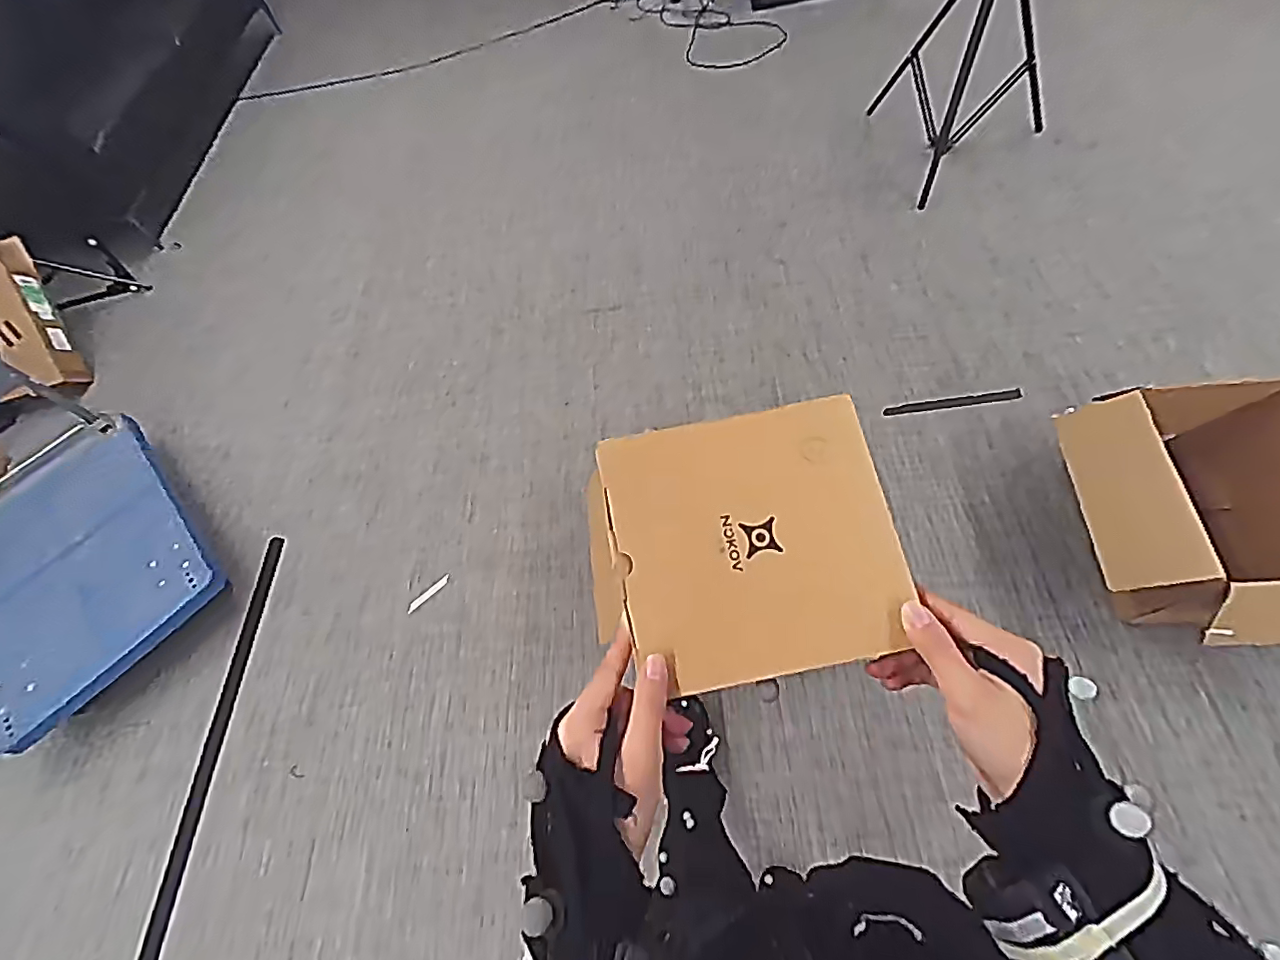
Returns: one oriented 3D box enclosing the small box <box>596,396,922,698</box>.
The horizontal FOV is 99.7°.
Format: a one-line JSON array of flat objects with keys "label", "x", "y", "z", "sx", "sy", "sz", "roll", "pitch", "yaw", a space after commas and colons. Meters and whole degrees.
[{"label": "small box", "x": 0.072, "y": 0.057, "z": 0.416, "sx": 0.179, "sy": 0.176, "sz": 0.168, "roll": -12, "pitch": 74, "yaw": 0}]
